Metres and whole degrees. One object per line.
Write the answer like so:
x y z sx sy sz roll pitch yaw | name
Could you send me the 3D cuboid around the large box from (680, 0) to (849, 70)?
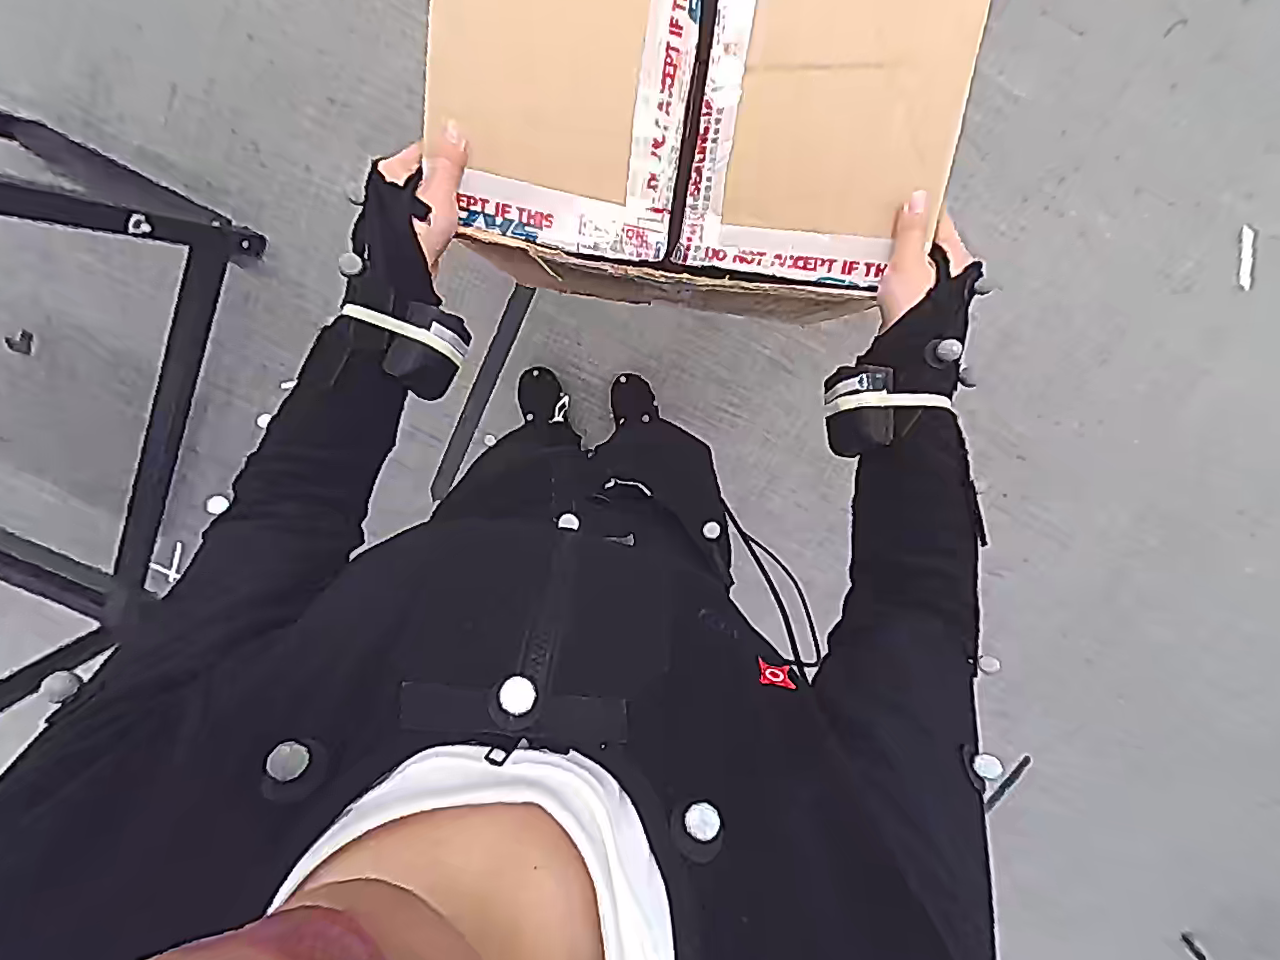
0.289 -1.047 0.927 0.320 0.320 0.408 25 107 -3 | large box
